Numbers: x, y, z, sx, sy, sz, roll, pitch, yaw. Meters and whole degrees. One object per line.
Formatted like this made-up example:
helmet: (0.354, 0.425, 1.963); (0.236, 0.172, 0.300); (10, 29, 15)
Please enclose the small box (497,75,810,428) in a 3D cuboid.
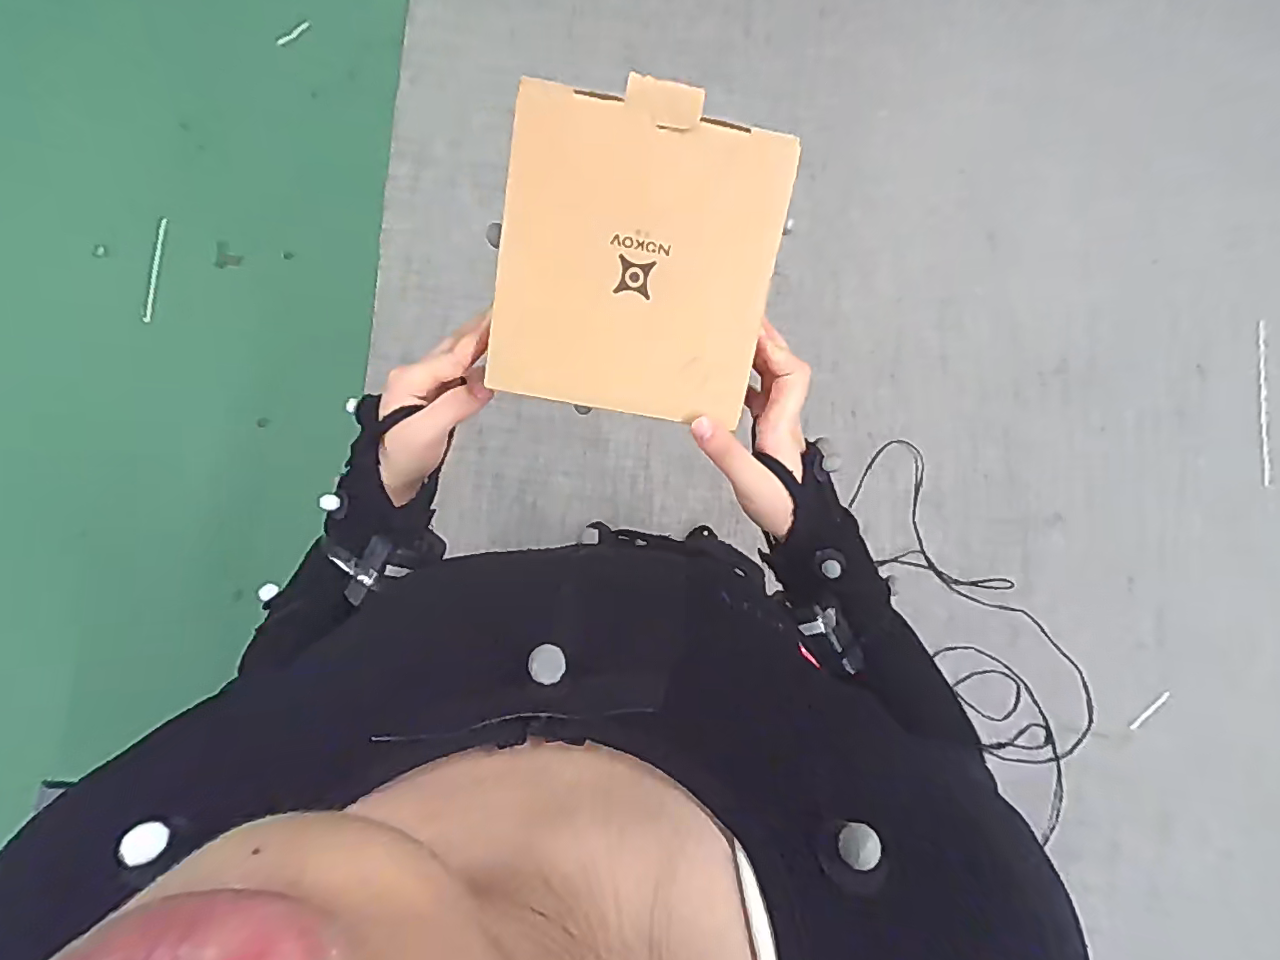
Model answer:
small box: (0.002, -0.149, 0.402); (0.168, 0.176, 0.179); (9, 103, -5)
